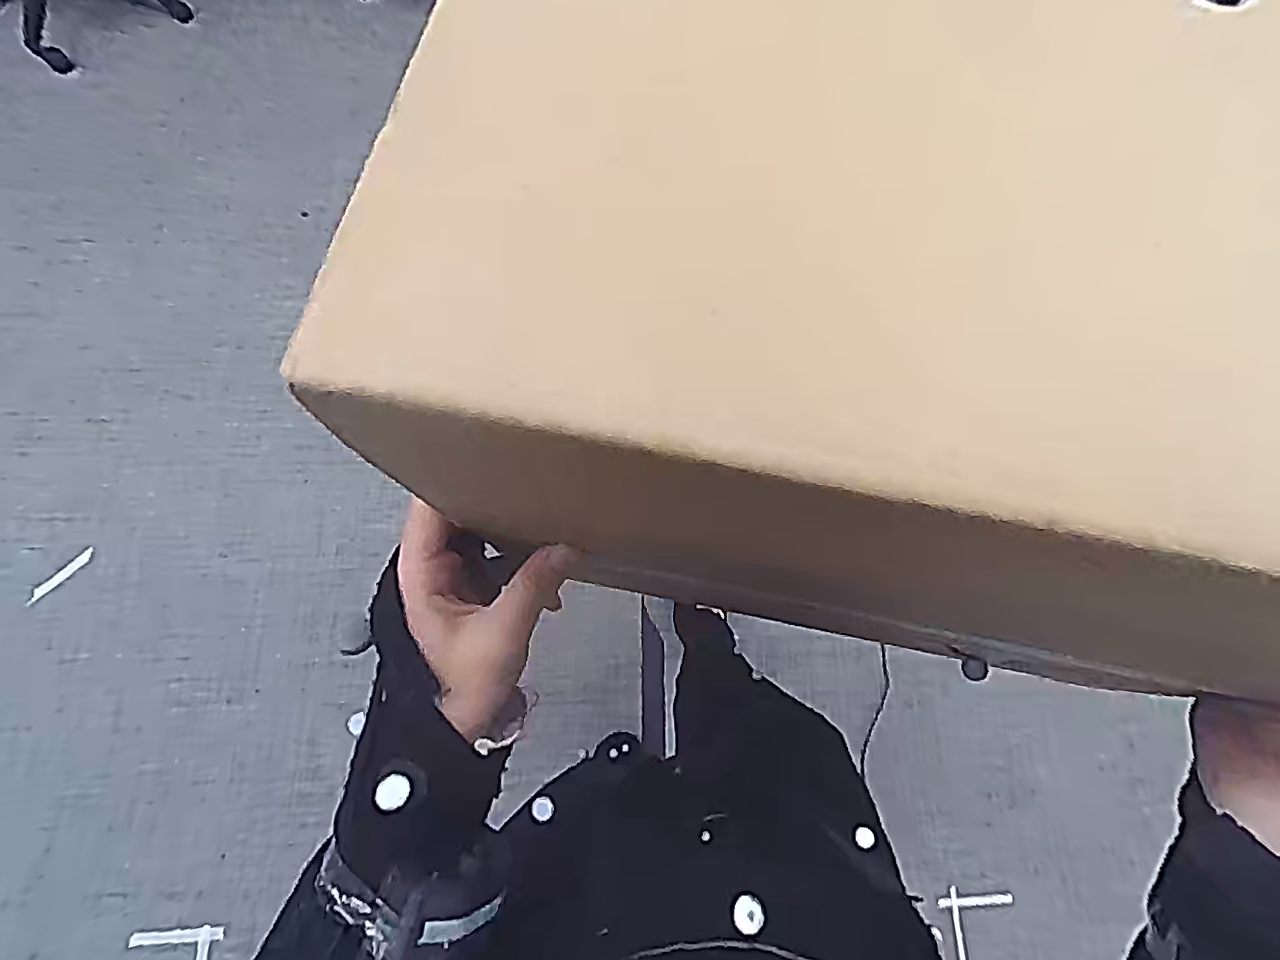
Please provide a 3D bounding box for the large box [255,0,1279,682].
[{"bbox_3d":[0.131,-0.090,0.289,0.408,0.320,0.320,9,75,1],"label":"large box"}]
